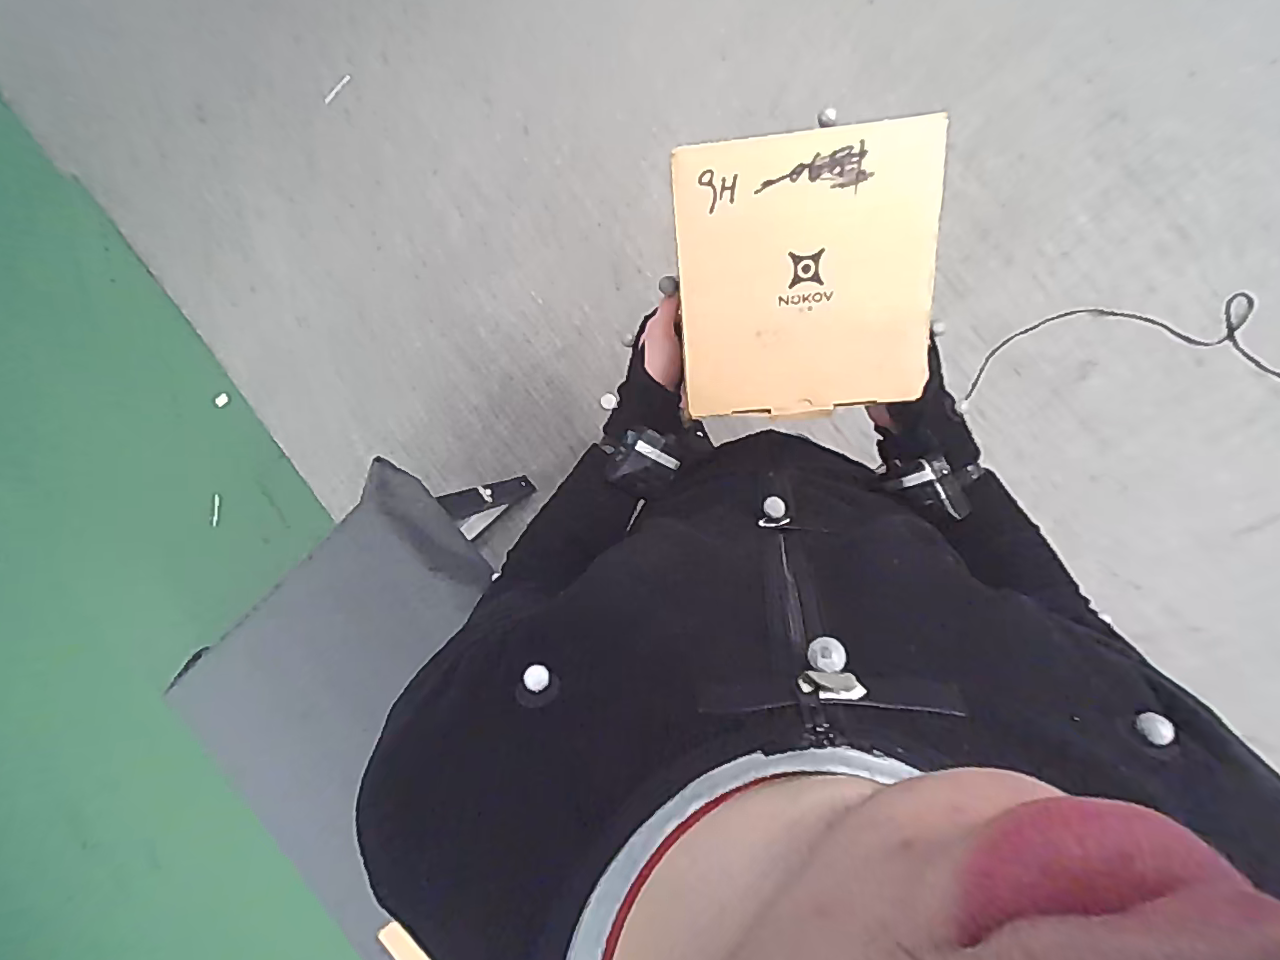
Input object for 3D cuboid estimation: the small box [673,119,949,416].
[{"bbox_3d":[0.114,-0.164,0.432,0.168,0.176,0.179,-4,114,5],"label":"small box"}]
